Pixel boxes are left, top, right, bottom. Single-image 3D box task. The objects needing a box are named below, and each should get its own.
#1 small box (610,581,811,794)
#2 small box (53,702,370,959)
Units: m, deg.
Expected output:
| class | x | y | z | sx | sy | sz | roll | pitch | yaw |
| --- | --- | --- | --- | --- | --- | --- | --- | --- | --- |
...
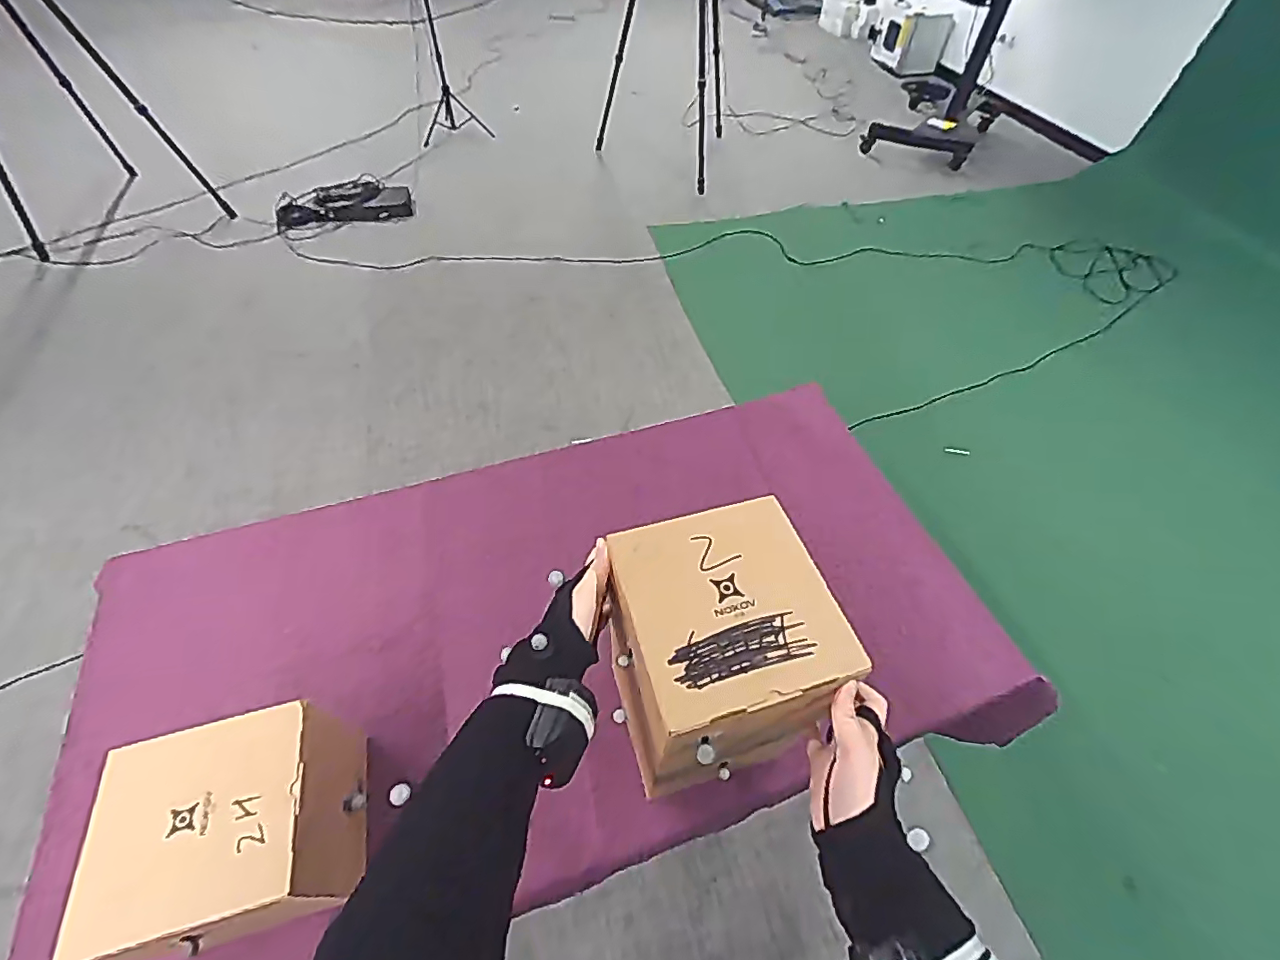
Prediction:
| class | x | y | z | sx | sy | sz | roll | pitch | yaw |
| --- | --- | --- | --- | --- | --- | --- | --- | --- | --- |
| small box | 0.068 | 0.247 | 0.638 | 0.179 | 0.176 | 0.168 | -13 | 53 | -10 |
| small box | -0.398 | 0.352 | 0.545 | 0.179 | 0.176 | 0.168 | -12 | 54 | -11 |
